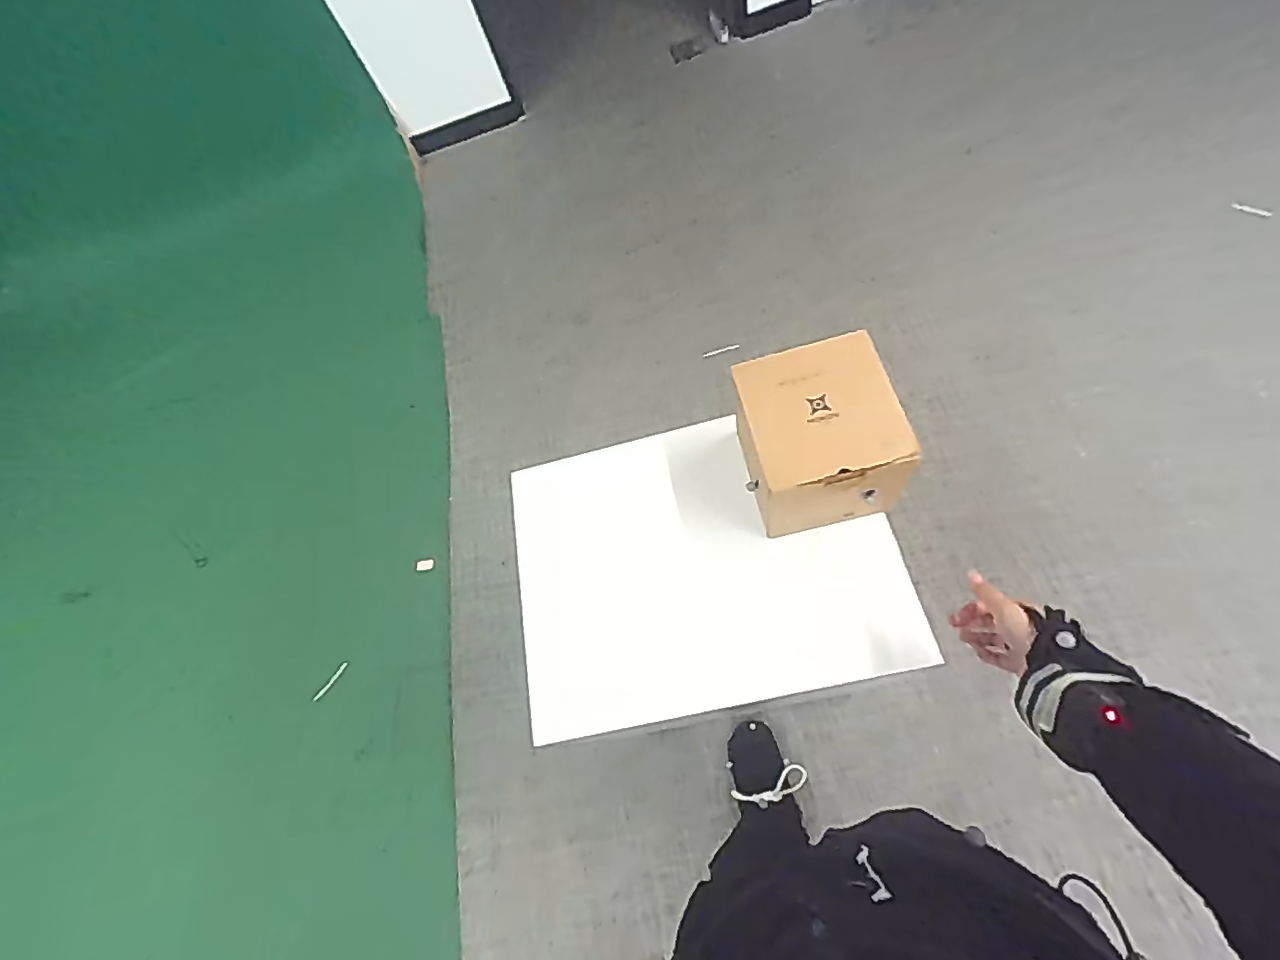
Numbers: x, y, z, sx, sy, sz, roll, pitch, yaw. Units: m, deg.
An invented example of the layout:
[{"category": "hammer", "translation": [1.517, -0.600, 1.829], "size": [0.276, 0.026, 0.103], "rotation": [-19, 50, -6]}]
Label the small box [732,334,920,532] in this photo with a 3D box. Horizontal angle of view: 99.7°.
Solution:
[{"category": "small box", "translation": [0.220, -0.045, 0.680], "size": [0.168, 0.176, 0.179], "rotation": [-14, 63, 6]}]
